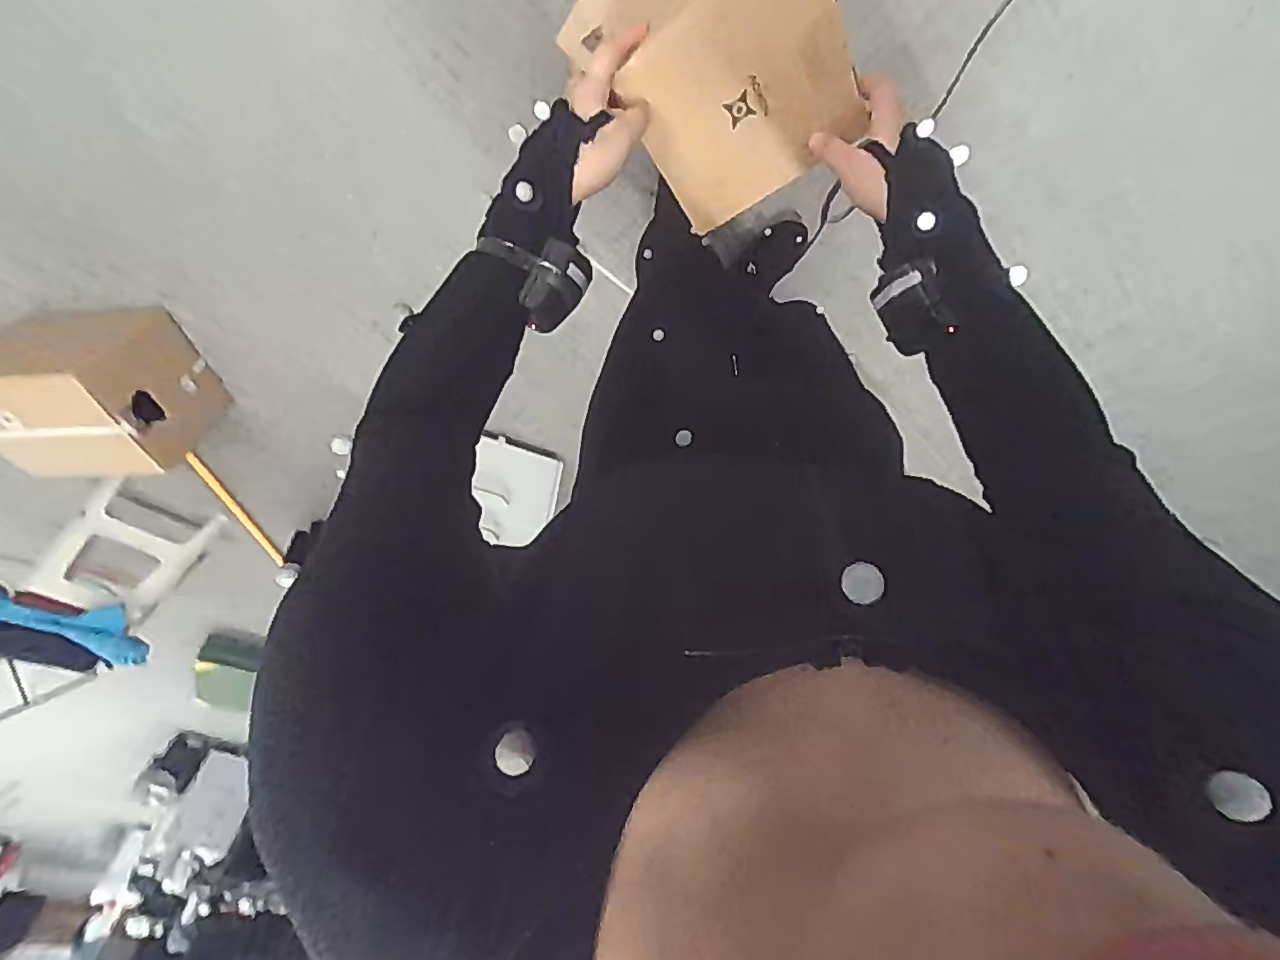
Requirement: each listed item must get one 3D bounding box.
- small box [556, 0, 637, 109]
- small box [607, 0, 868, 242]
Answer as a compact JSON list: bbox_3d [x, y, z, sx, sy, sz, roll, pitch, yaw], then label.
[{"bbox_3d":[0.003,-0.655,0.787,0.168,0.176,0.179,31,127,-25],"label":"small box"},{"bbox_3d":[0.085,-0.374,0.507,0.179,0.176,0.168,-23,141,25],"label":"small box"}]
